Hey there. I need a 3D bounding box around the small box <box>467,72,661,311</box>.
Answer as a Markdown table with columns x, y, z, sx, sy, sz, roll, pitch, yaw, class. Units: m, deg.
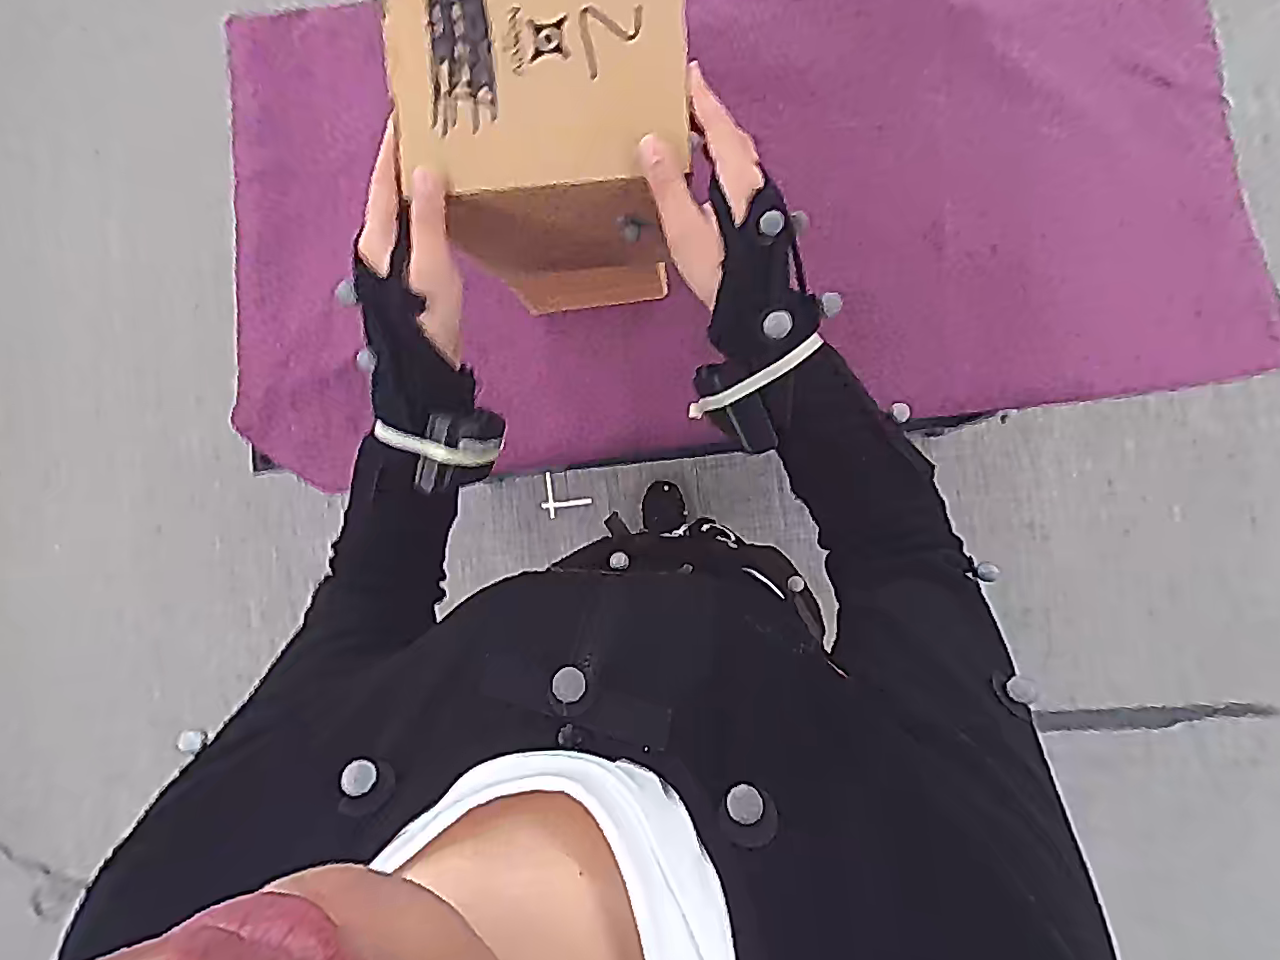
| x | y | z | sx | sy | sz | roll | pitch | yaw | class |
| --- | --- | --- | --- | --- | --- | --- | --- | --- | --- |
| -0.075 | -0.306 | 0.613 | 0.179 | 0.176 | 0.168 | -6 | 86 | 6 | small box |
